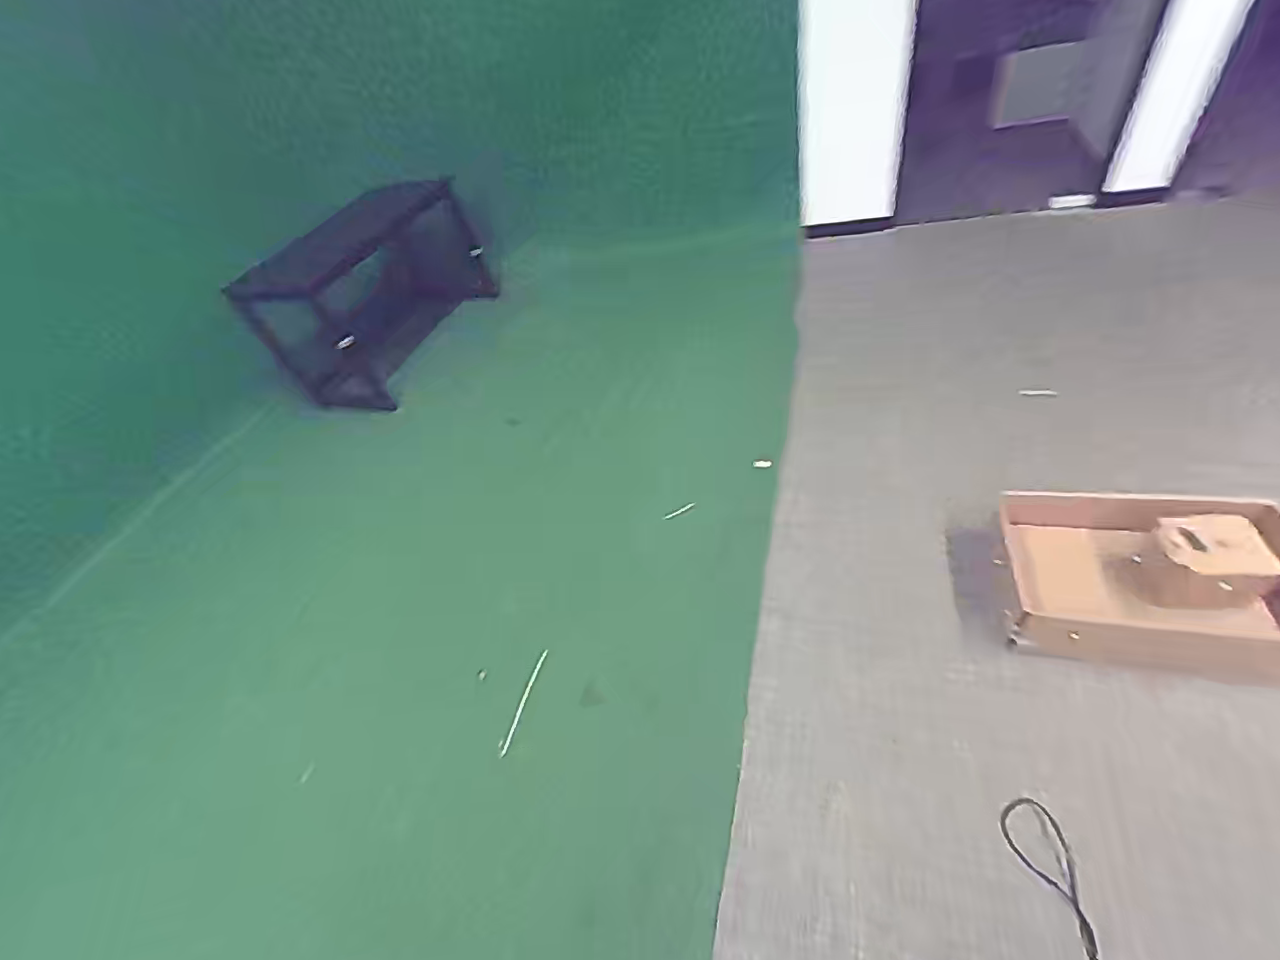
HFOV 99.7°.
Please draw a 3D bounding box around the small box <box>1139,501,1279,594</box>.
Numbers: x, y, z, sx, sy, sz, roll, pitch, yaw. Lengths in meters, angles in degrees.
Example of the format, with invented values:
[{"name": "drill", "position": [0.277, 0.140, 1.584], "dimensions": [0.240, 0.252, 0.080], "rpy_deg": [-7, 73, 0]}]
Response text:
[{"name": "small box", "position": [1.392, 0.172, 1.338], "dimensions": [0.179, 0.176, 0.168], "rpy_deg": [-5, 48, 15]}]
